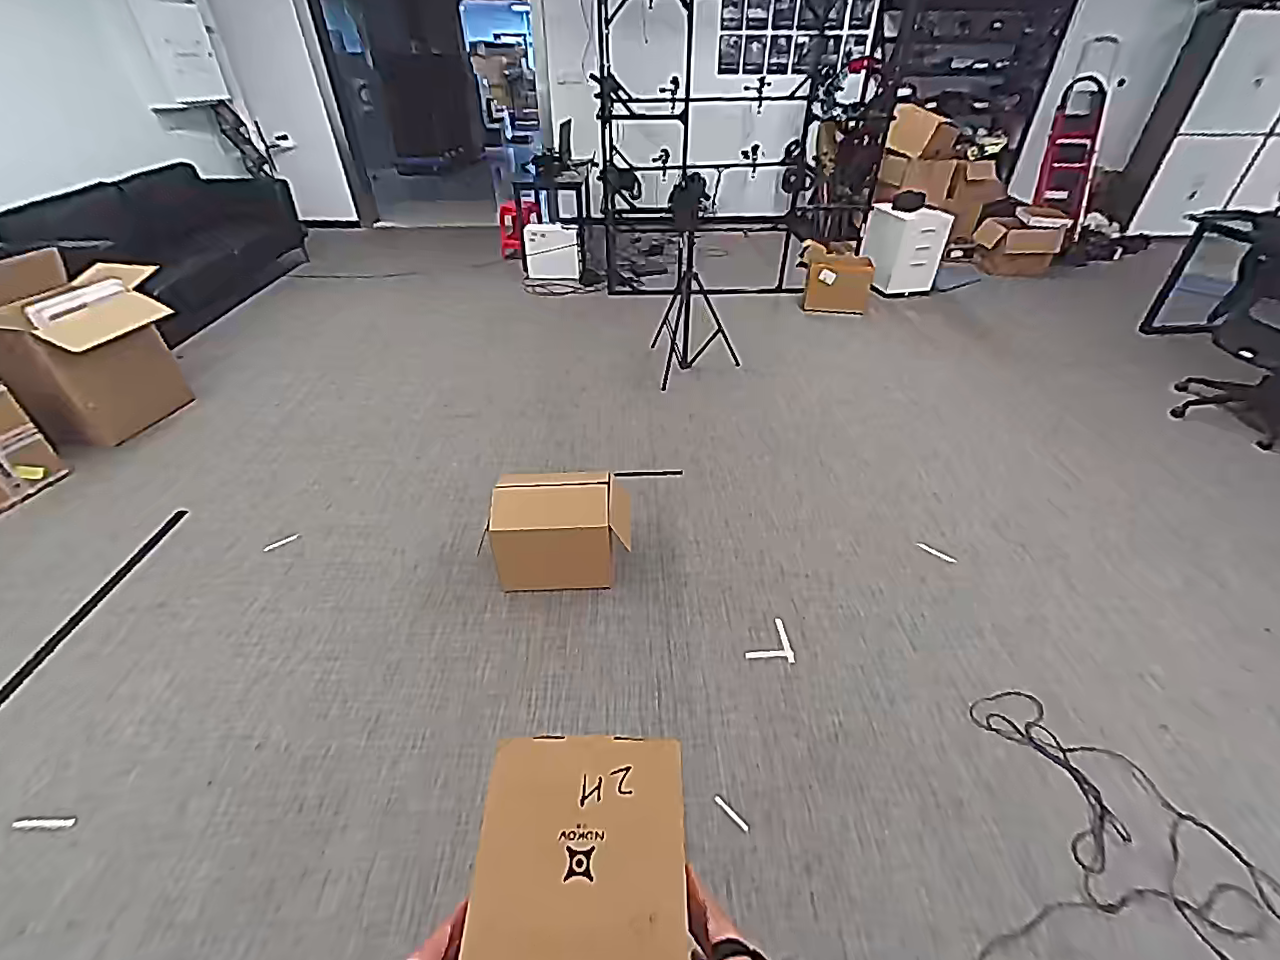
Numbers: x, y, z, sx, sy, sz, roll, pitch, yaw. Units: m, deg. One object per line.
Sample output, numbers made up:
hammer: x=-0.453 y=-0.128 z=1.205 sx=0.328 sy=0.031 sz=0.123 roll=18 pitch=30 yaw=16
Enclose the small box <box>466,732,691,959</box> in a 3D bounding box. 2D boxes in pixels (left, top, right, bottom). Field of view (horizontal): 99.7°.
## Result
small box: x=-0.044 y=0.353 z=0.493 sx=0.168 sy=0.176 sz=0.179 roll=2 pitch=44 yaw=-1
